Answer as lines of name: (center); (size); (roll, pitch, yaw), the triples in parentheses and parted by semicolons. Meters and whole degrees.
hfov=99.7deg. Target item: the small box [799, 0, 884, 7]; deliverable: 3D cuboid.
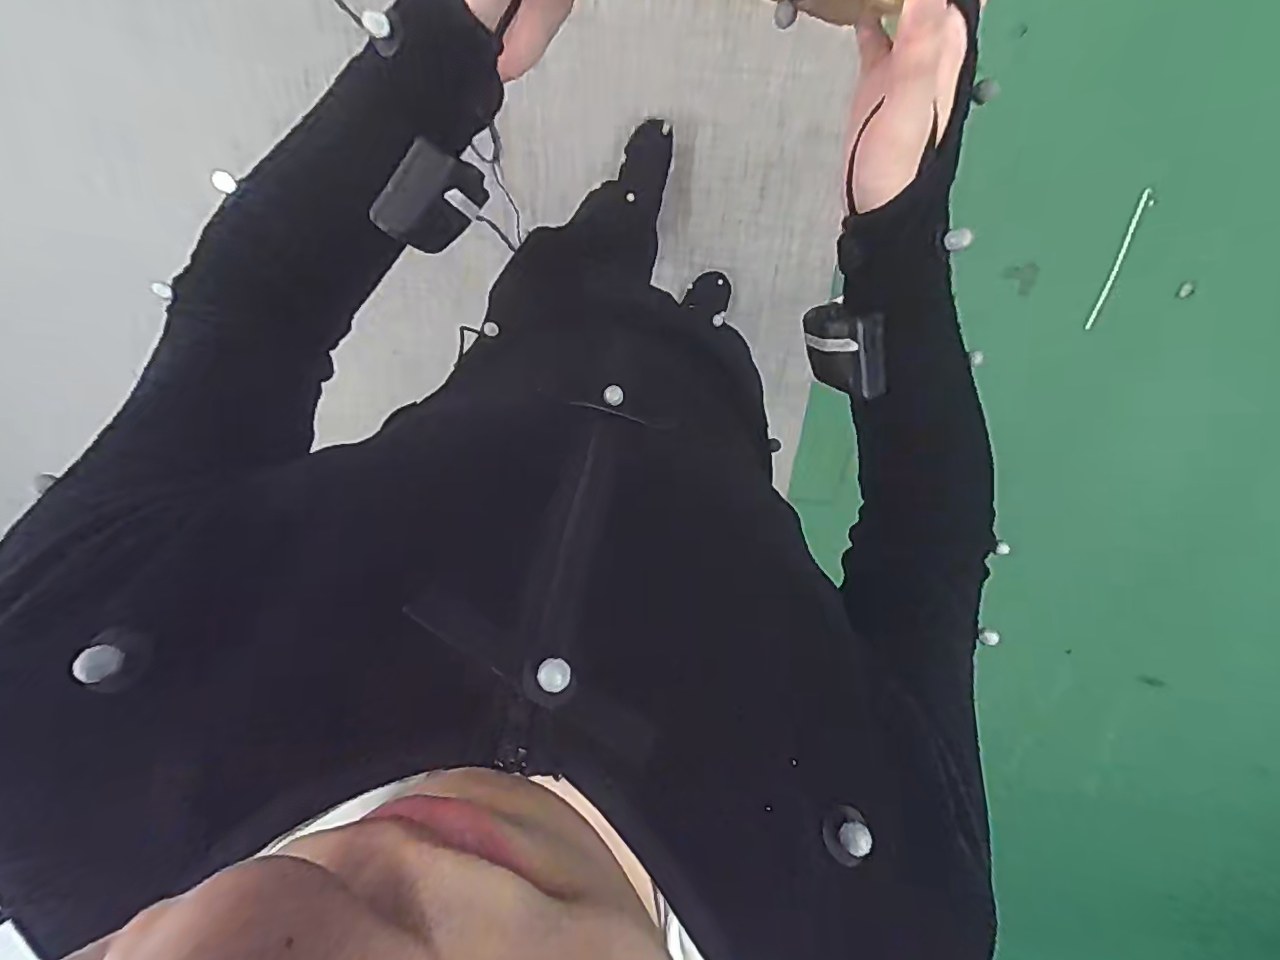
small box: (0.070, -0.345, 0.236); (0.168, 0.176, 0.179); (17, 129, -6)
